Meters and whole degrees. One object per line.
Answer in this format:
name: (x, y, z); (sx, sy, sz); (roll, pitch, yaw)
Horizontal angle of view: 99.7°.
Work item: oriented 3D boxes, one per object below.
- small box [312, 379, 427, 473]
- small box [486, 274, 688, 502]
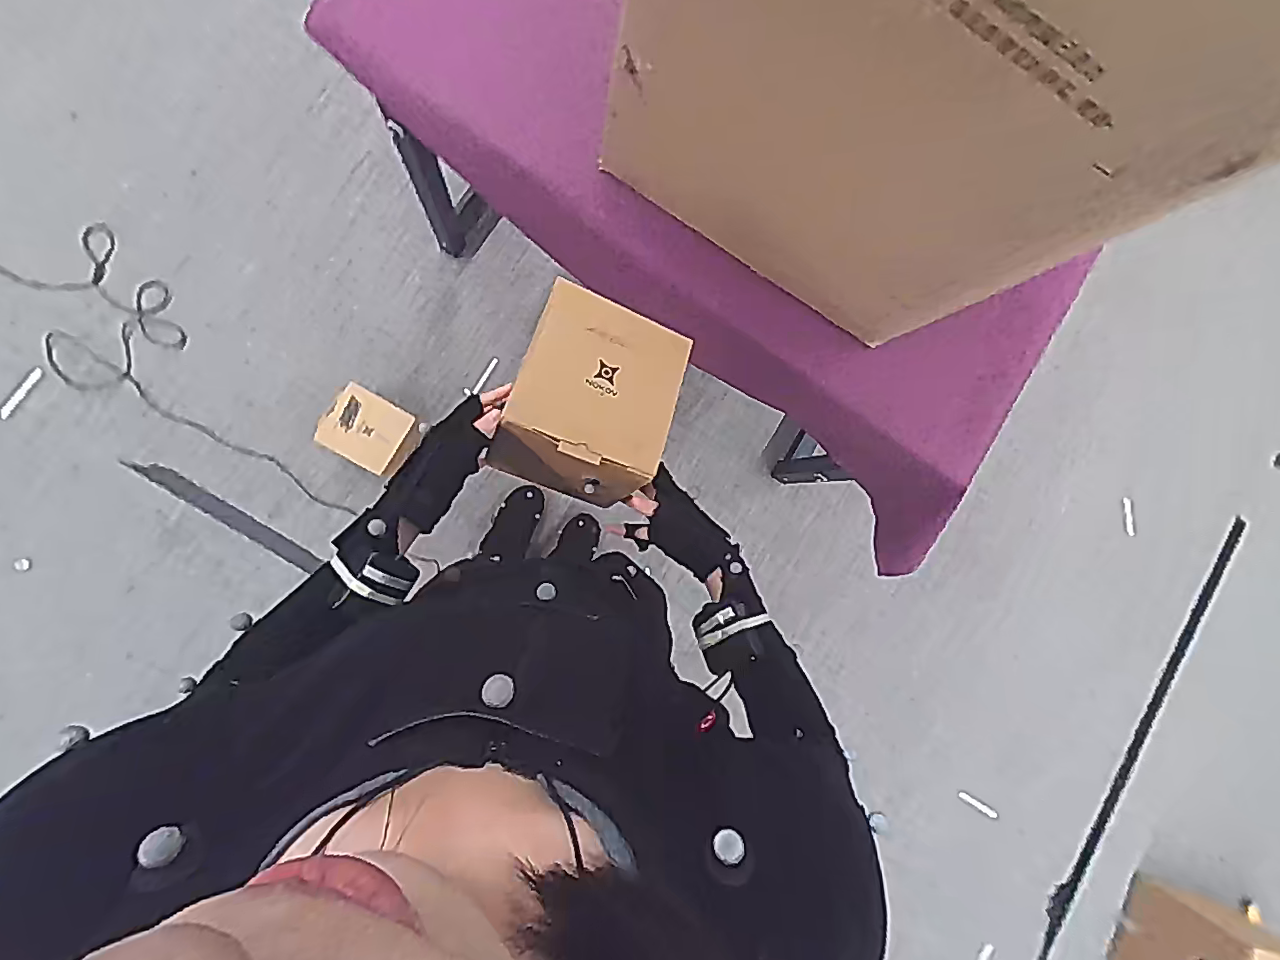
small box: (-0.665, -0.125, 1.352); (0.179, 0.176, 0.168); (31, 84, -9)
small box: (-0.069, -0.090, 0.625); (0.168, 0.176, 0.179); (21, 67, -17)
